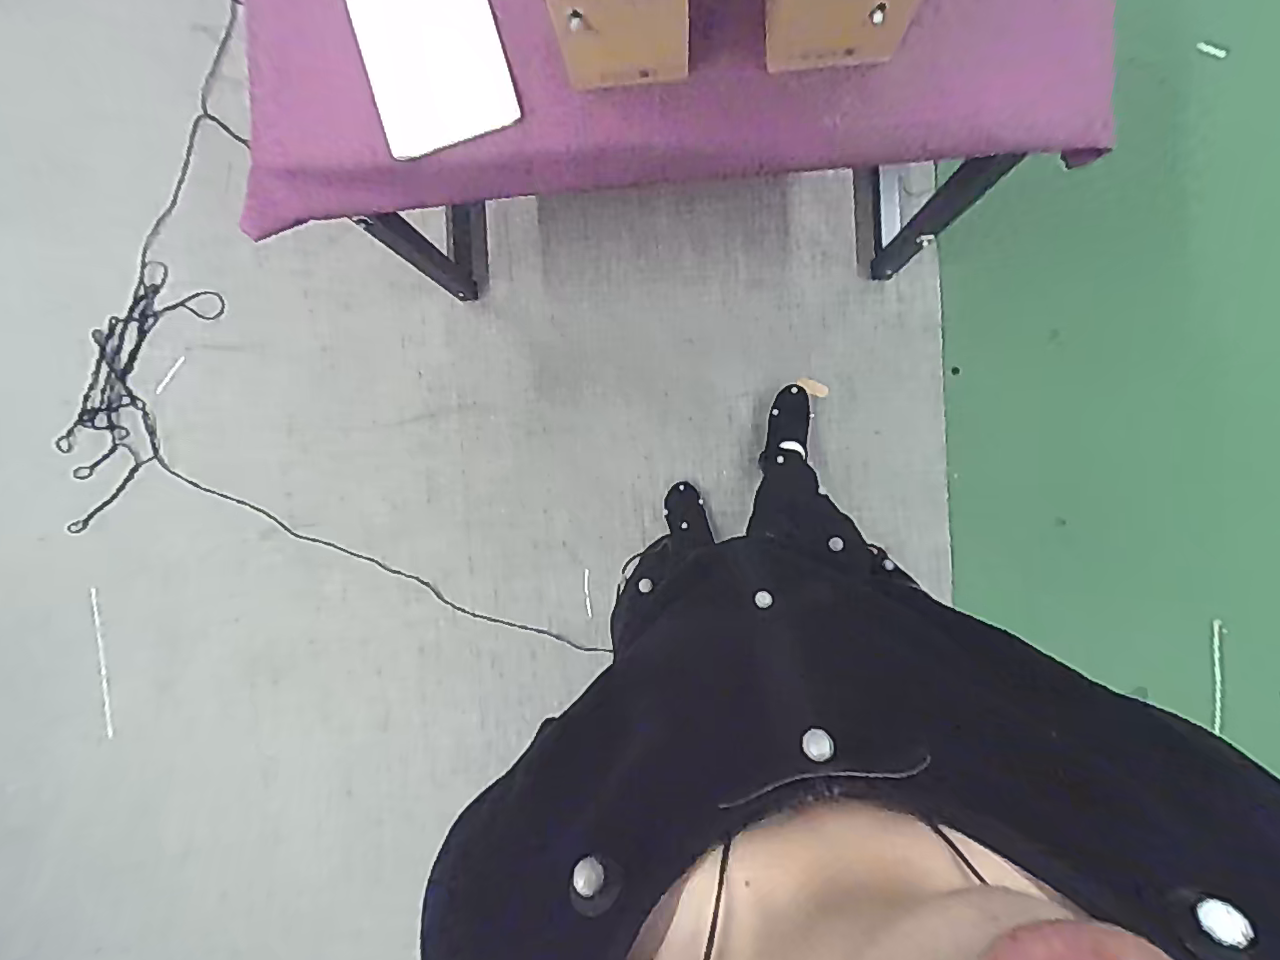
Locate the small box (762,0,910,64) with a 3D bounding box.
[{"bbox_3d":[0.246,-0.652,0.664,0.168,0.176,0.179,-2,90,4],"label":"small box"}]
